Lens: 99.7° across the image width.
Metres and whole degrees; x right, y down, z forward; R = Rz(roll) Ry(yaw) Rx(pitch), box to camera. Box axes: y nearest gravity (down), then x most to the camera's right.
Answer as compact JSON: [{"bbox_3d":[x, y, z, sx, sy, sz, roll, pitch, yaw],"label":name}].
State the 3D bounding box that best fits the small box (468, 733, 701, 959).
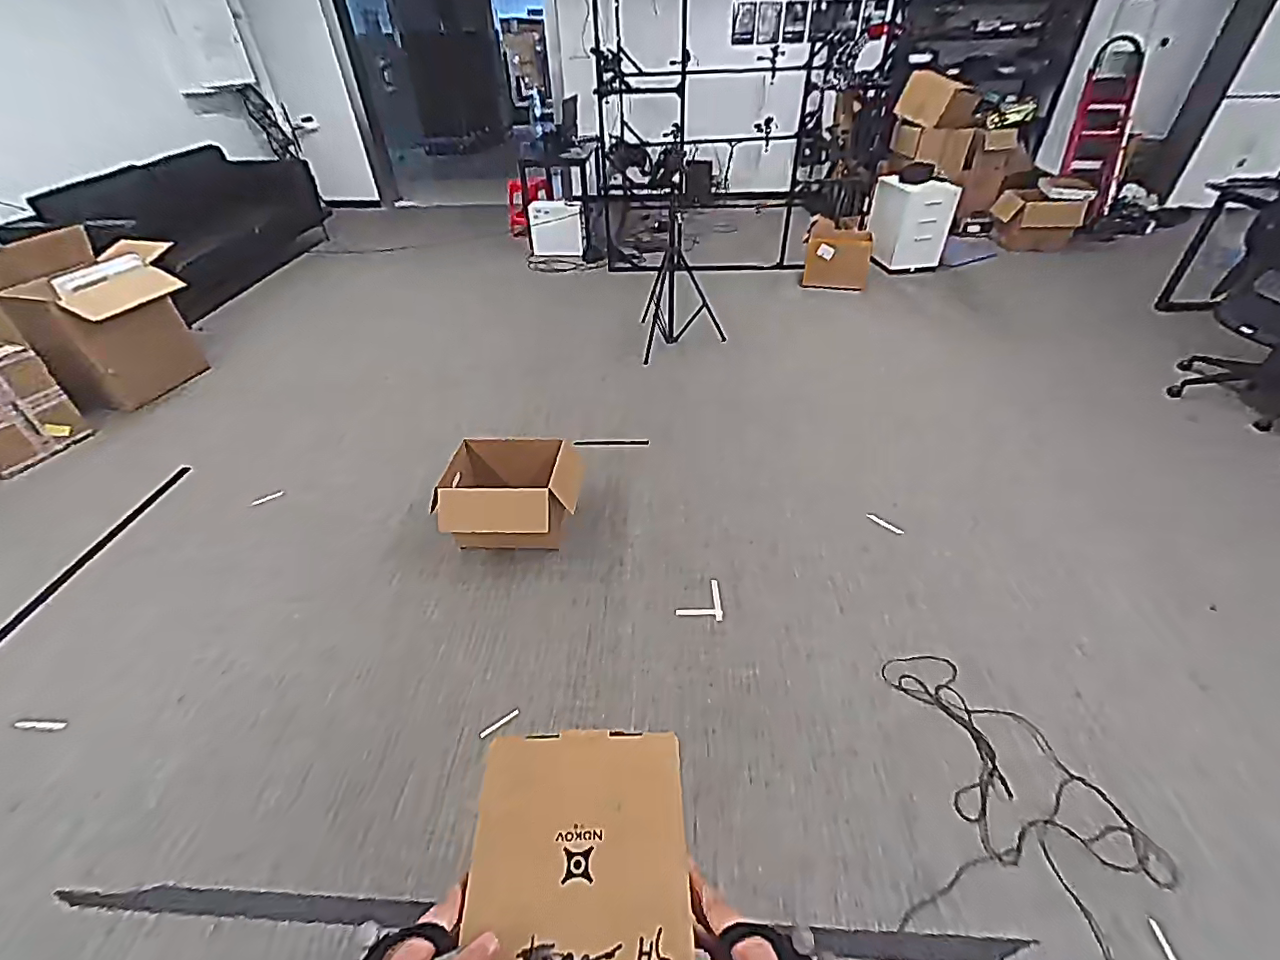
[{"bbox_3d":[-0.040,0.347,0.480,0.168,0.176,0.179,-2,45,-1],"label":"small box"}]
